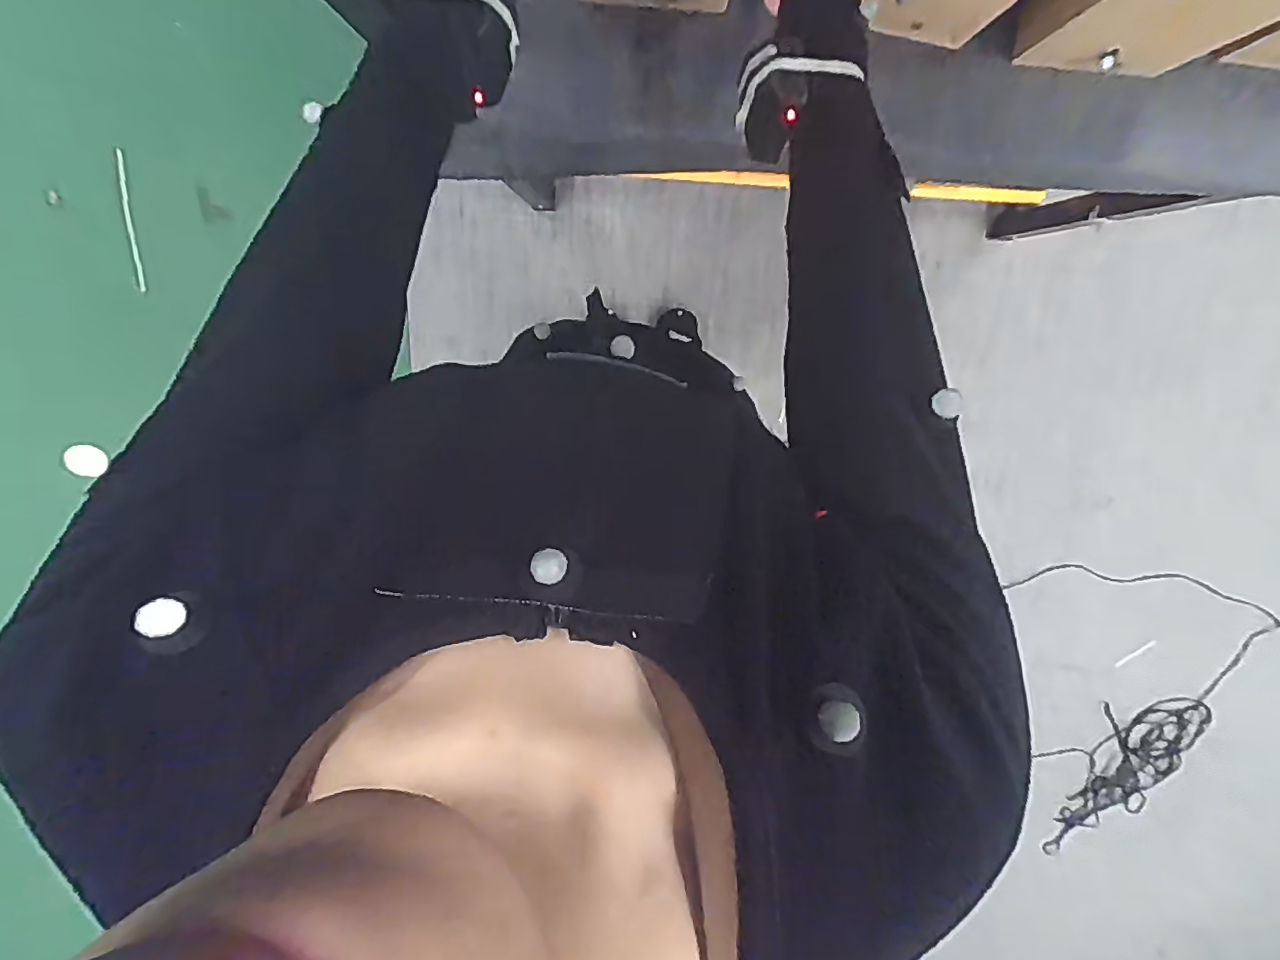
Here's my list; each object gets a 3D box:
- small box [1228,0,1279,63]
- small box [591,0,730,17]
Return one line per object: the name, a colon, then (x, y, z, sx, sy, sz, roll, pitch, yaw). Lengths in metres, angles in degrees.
small box: (0.730, -0.513, 0.502, 0.168, 0.176, 0.179, 6, 107, -2)
small box: (0.021, -0.568, 0.484, 0.168, 0.176, 0.179, 3, 108, -1)
